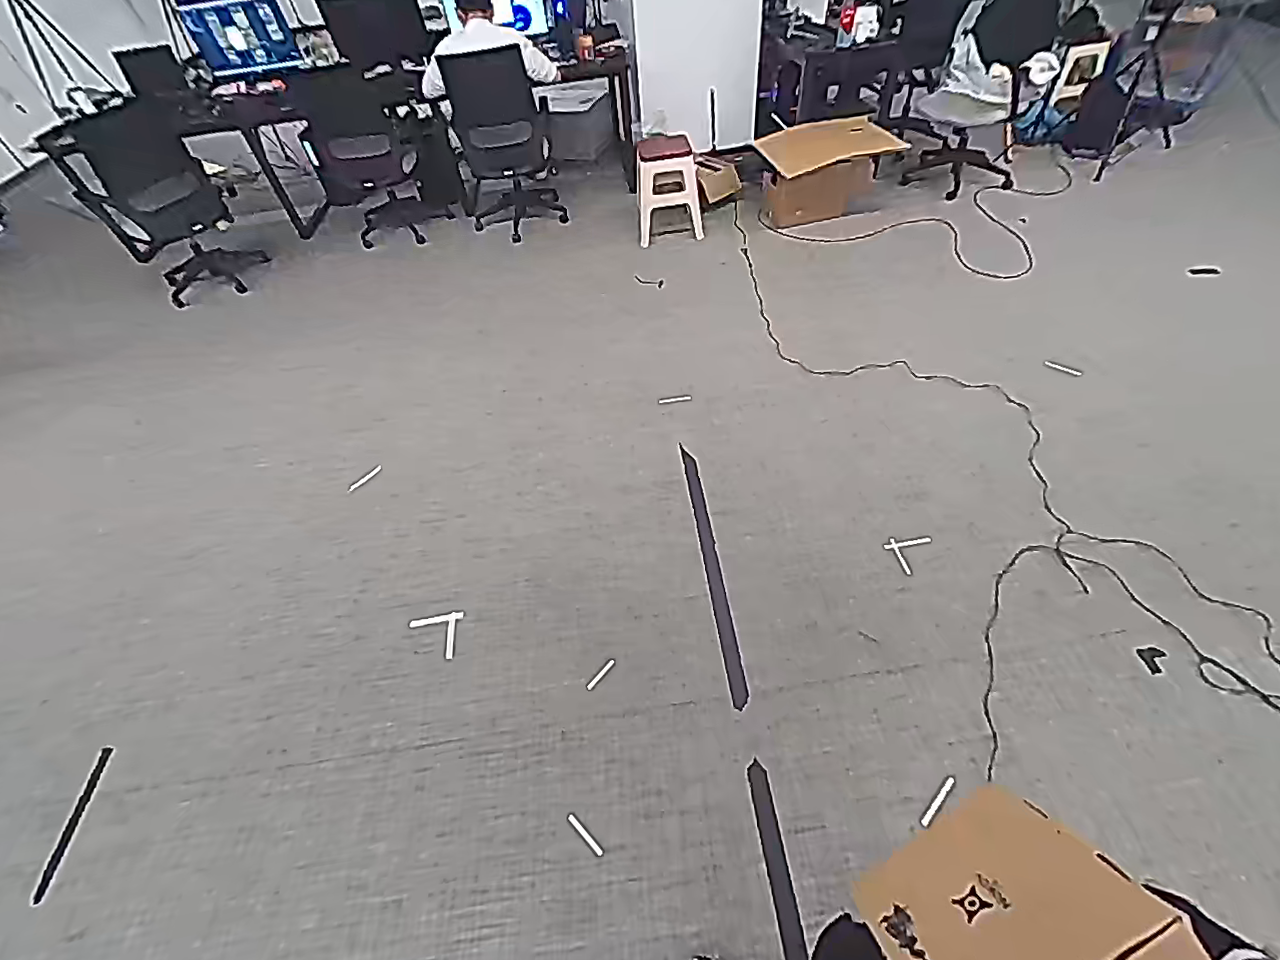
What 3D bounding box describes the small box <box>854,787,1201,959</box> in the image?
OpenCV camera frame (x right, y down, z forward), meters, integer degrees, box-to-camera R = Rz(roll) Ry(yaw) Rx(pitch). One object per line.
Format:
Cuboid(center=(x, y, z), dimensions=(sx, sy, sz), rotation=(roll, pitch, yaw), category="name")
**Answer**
Cuboid(center=(0.316, 0.401, 0.429), dimensions=(0.179, 0.168, 0.176), rotation=(-32, 89, -3), category="small box")
